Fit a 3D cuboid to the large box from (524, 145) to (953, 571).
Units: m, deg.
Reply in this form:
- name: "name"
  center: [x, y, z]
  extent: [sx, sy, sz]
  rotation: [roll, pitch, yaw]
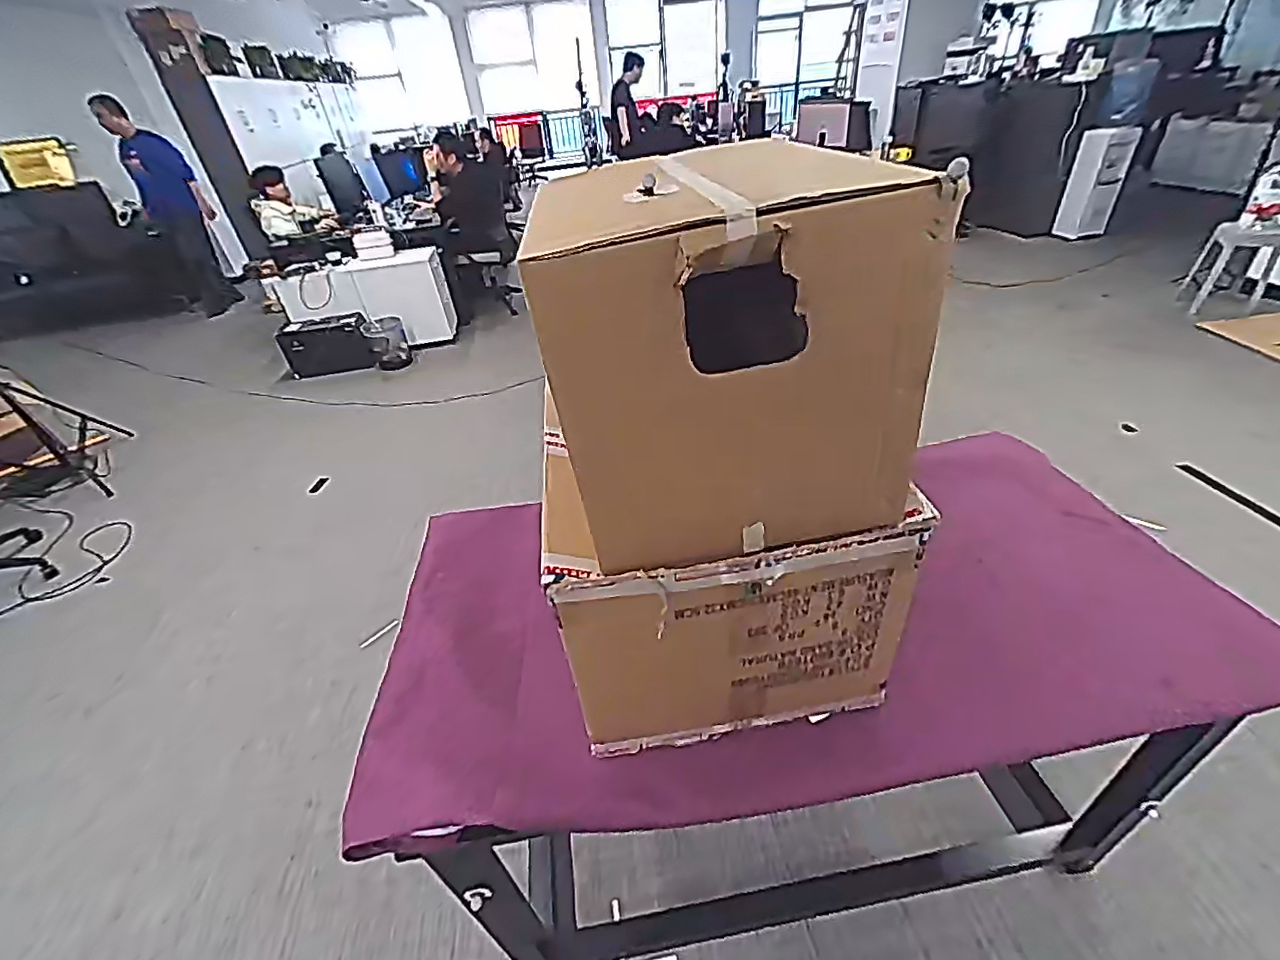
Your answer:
- name: "large box"
  center: [0.064, -0.165, 0.618]
  extent: [0.320, 0.320, 0.408]
  rotation: [-12, 36, 0]
